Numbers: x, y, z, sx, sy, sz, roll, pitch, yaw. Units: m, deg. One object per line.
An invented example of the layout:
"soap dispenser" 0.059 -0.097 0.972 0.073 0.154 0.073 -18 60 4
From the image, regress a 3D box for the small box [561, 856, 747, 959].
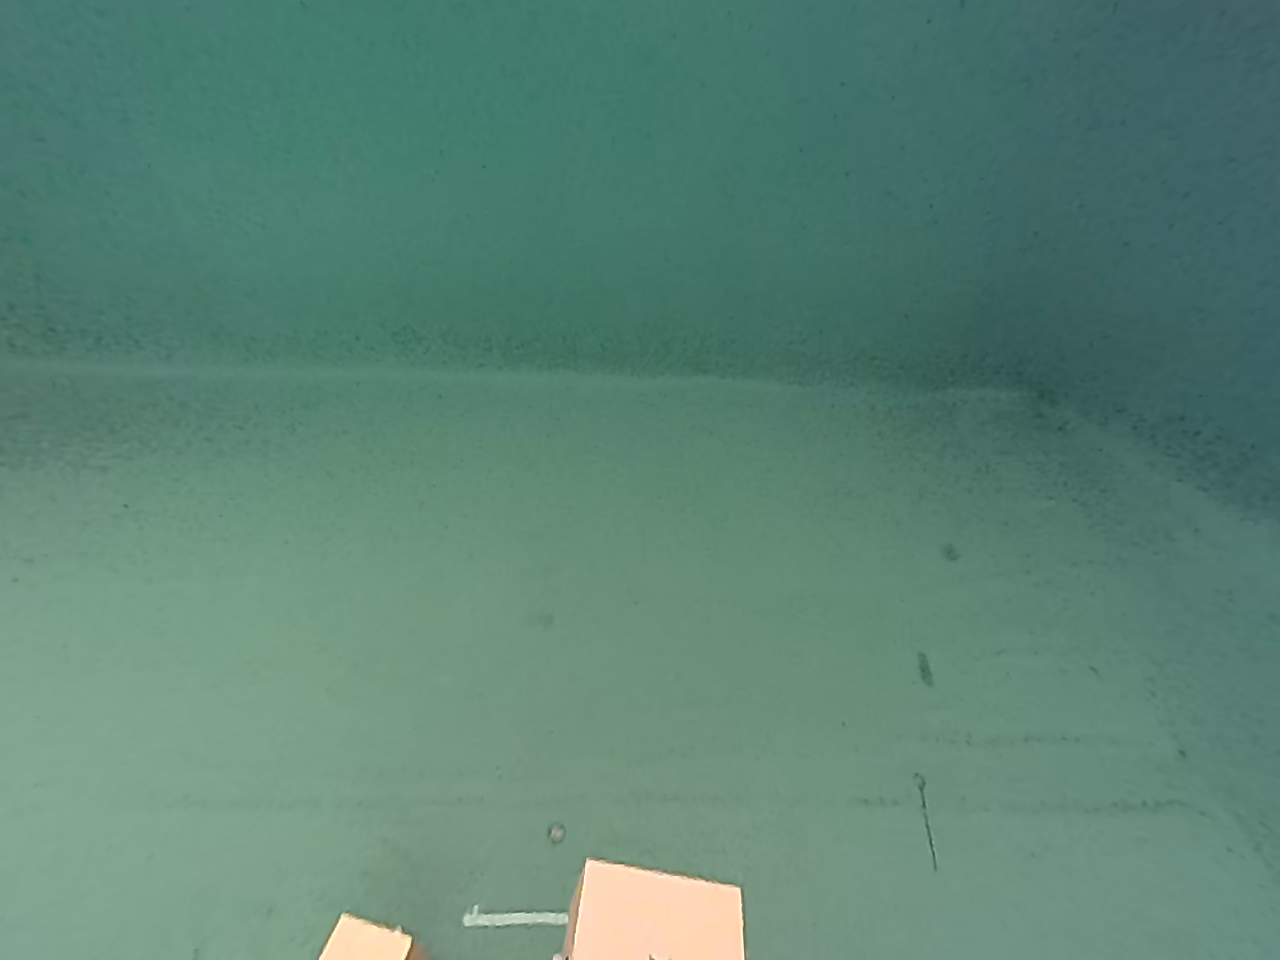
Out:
"small box" 0.002 0.514 0.533 0.168 0.176 0.179 13 39 -1

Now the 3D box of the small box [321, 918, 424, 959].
"small box" -0.564 1.042 1.104 0.168 0.176 0.179 11 43 8
